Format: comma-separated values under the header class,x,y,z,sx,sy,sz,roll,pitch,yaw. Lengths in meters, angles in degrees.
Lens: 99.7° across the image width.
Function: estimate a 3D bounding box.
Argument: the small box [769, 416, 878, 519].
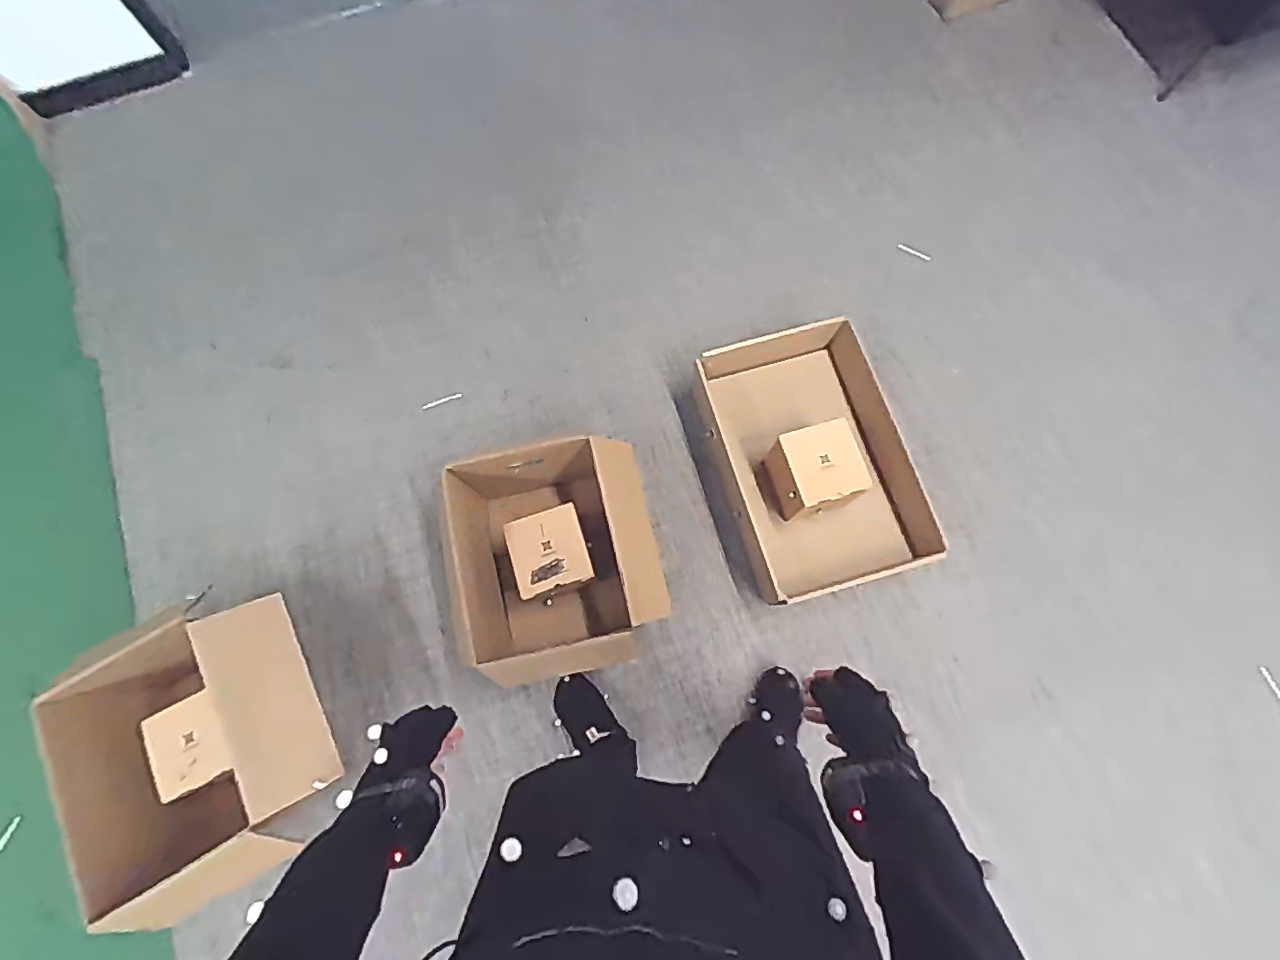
class,x,y,z,sx,sy,sz,roll,pitch,yaw
small box,0.421,-0.025,1.276,0.168,0.176,0.179,-16,75,-3
